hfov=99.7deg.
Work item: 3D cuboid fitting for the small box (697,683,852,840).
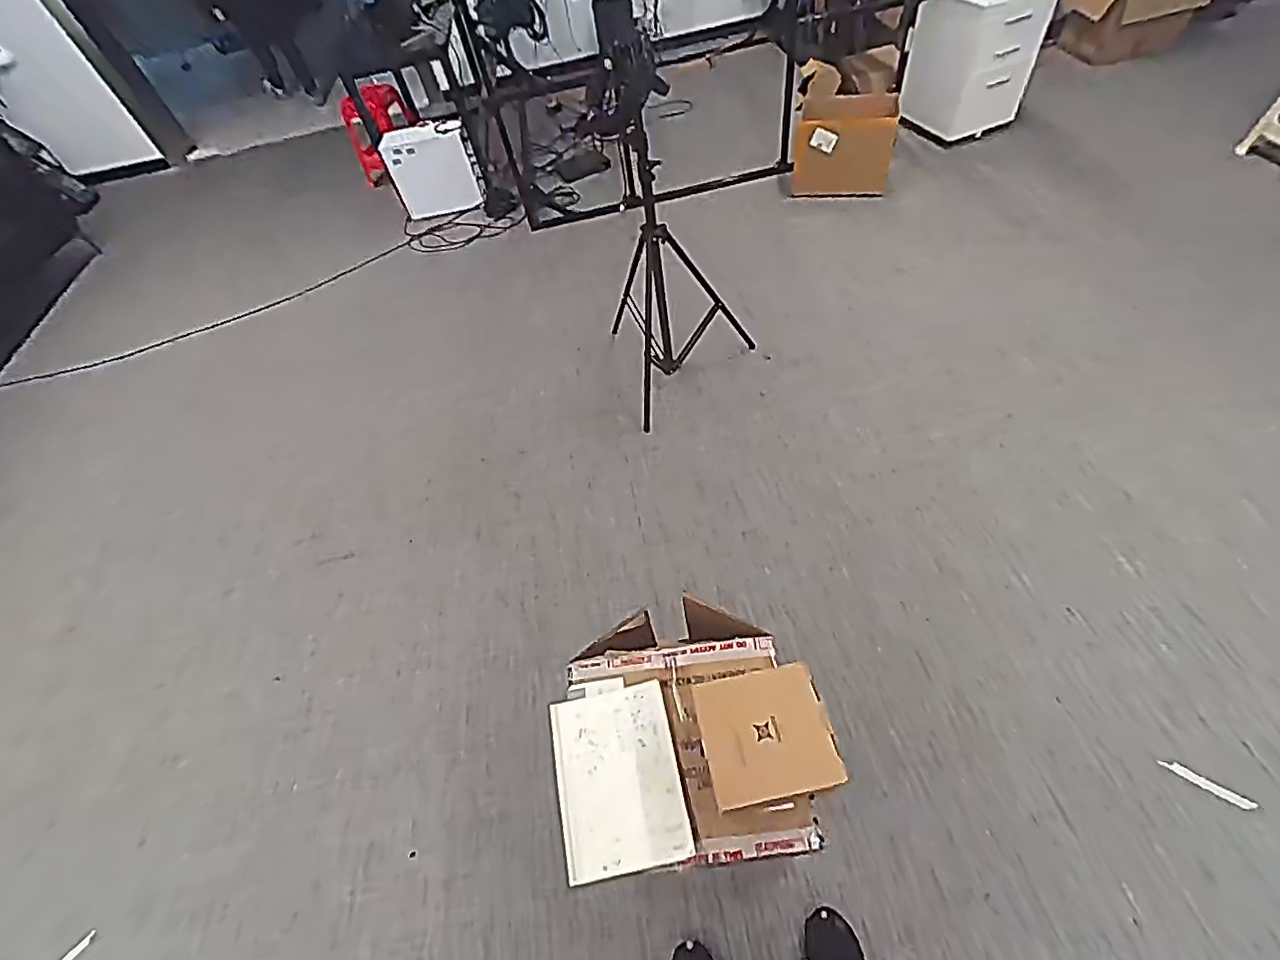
[{"bbox_3d":[0.190,0.429,0.818,0.179,0.176,0.168,-13,53,-1],"label":"small box"}]
